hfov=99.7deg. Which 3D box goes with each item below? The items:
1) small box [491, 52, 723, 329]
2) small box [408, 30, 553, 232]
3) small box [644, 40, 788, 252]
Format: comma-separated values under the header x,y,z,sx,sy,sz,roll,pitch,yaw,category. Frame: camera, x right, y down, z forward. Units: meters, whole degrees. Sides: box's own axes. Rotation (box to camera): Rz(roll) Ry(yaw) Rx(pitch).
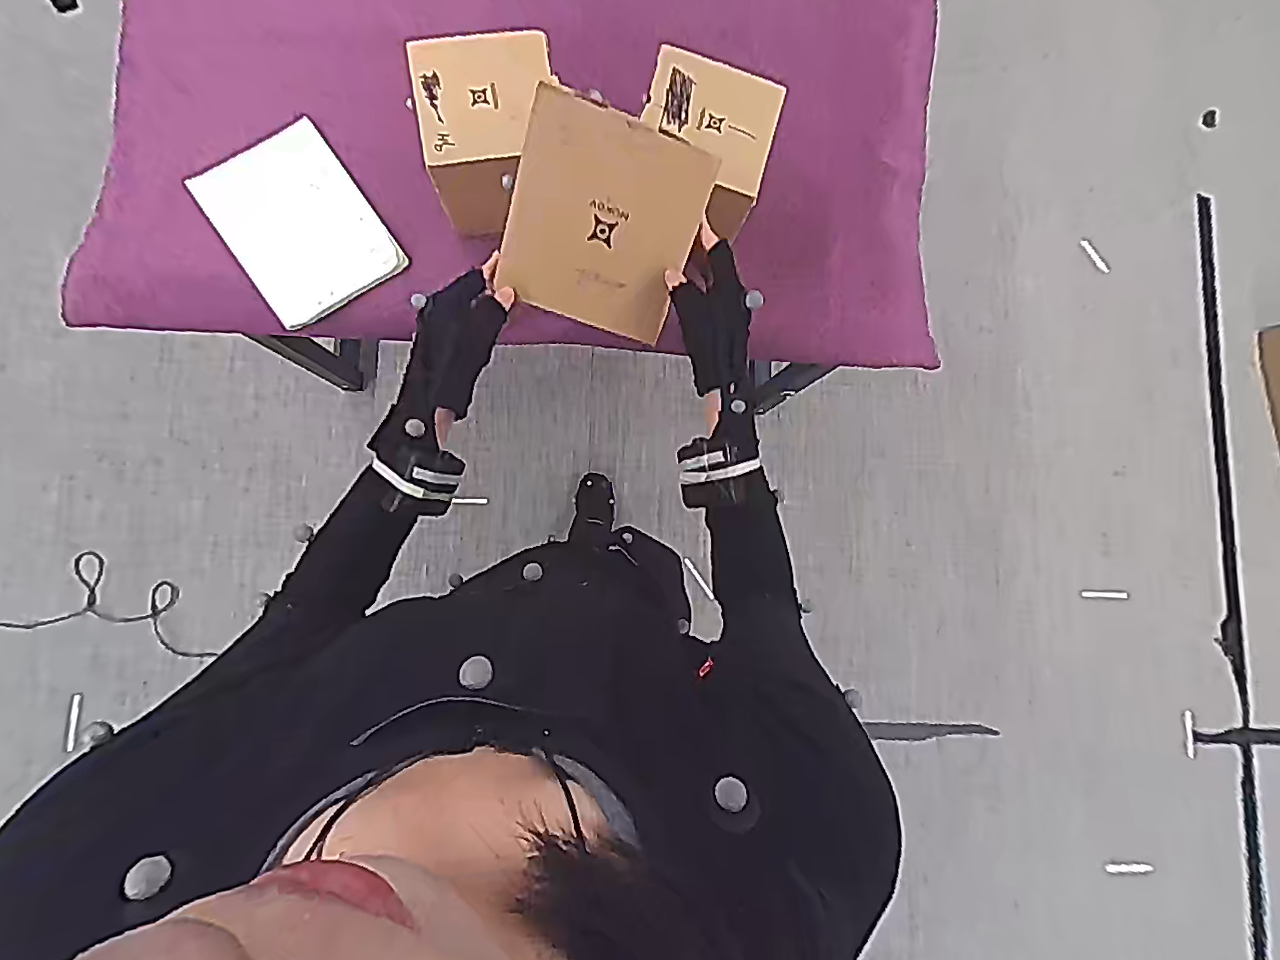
x,y,z,sx,sy,sz,roll,pitch,yaw,category
-0.039,-0.277,0.542,0.168,0.176,0.179,15,116,-12,small box
-0.198,-0.469,0.746,0.179,0.176,0.168,-10,85,-8,small box
0.081,-0.458,0.771,0.179,0.176,0.168,17,82,-4,small box
